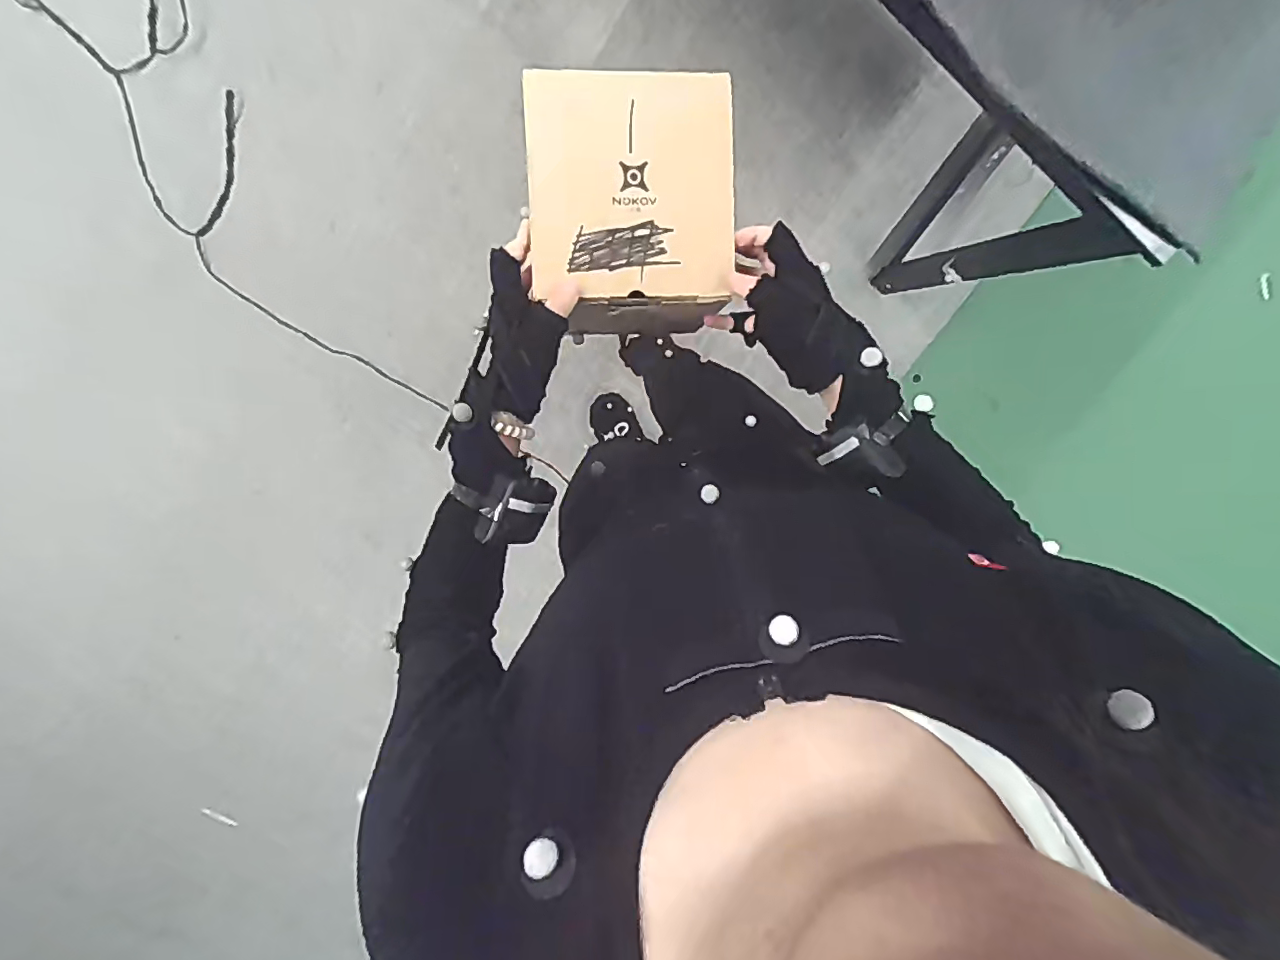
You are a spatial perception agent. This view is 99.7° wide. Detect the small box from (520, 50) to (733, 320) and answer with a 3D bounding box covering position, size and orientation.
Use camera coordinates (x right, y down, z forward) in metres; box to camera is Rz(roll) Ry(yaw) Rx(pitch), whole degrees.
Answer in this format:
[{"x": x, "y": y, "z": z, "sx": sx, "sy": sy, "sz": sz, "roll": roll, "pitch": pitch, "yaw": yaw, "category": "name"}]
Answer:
[{"x": -0.014, "y": -0.249, "z": 0.501, "sx": 0.168, "sy": 0.176, "sz": 0.179, "roll": -2, "pitch": 96, "yaw": -5, "category": "small box"}]
